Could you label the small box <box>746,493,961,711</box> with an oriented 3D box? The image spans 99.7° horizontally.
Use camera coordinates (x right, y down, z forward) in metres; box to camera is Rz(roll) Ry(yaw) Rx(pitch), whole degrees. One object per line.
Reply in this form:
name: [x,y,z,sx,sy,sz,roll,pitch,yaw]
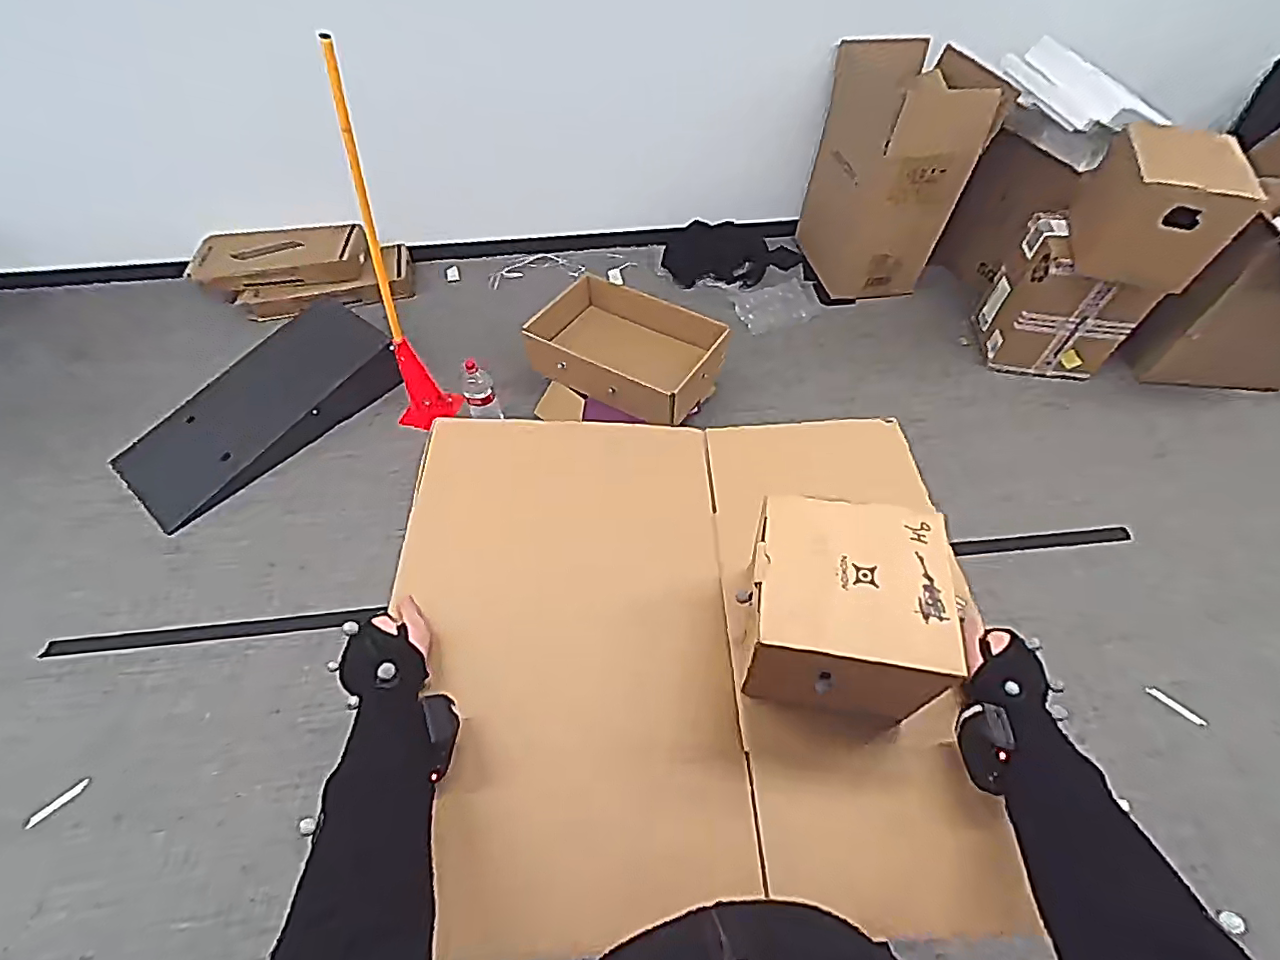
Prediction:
small box: [0.211,0.135,0.582,0.179,0.176,0.168,7,55,10]
